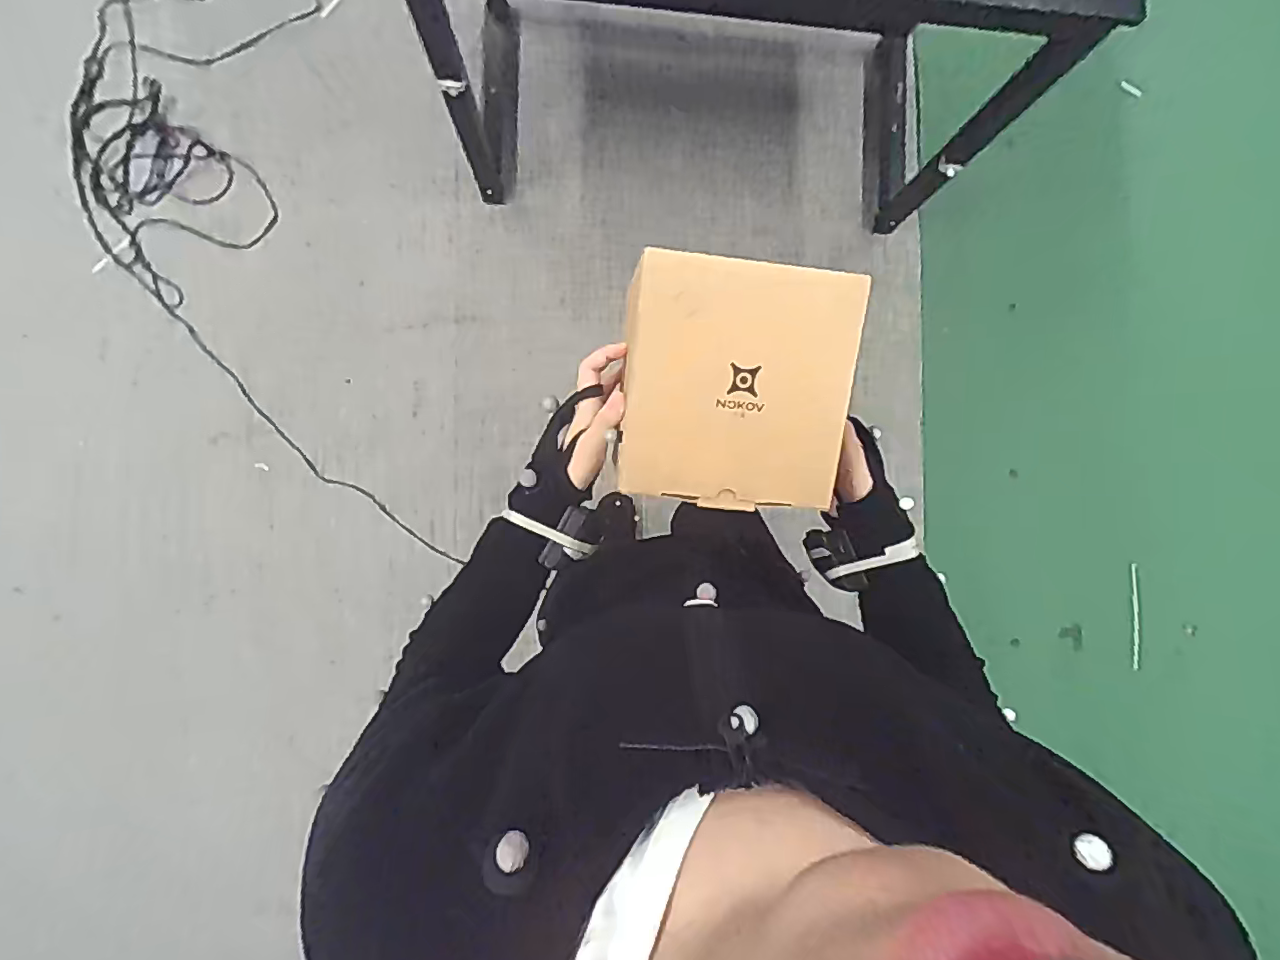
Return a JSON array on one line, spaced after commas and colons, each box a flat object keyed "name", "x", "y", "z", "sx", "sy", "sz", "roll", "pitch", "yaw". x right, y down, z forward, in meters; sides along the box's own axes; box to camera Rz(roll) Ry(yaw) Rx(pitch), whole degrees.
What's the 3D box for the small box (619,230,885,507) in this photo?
[{"name": "small box", "x": 0.073, "y": -0.086, "z": 0.456, "sx": 0.168, "sy": 0.176, "sz": 0.179, "roll": 6, "pitch": 100, "yaw": -5}]
